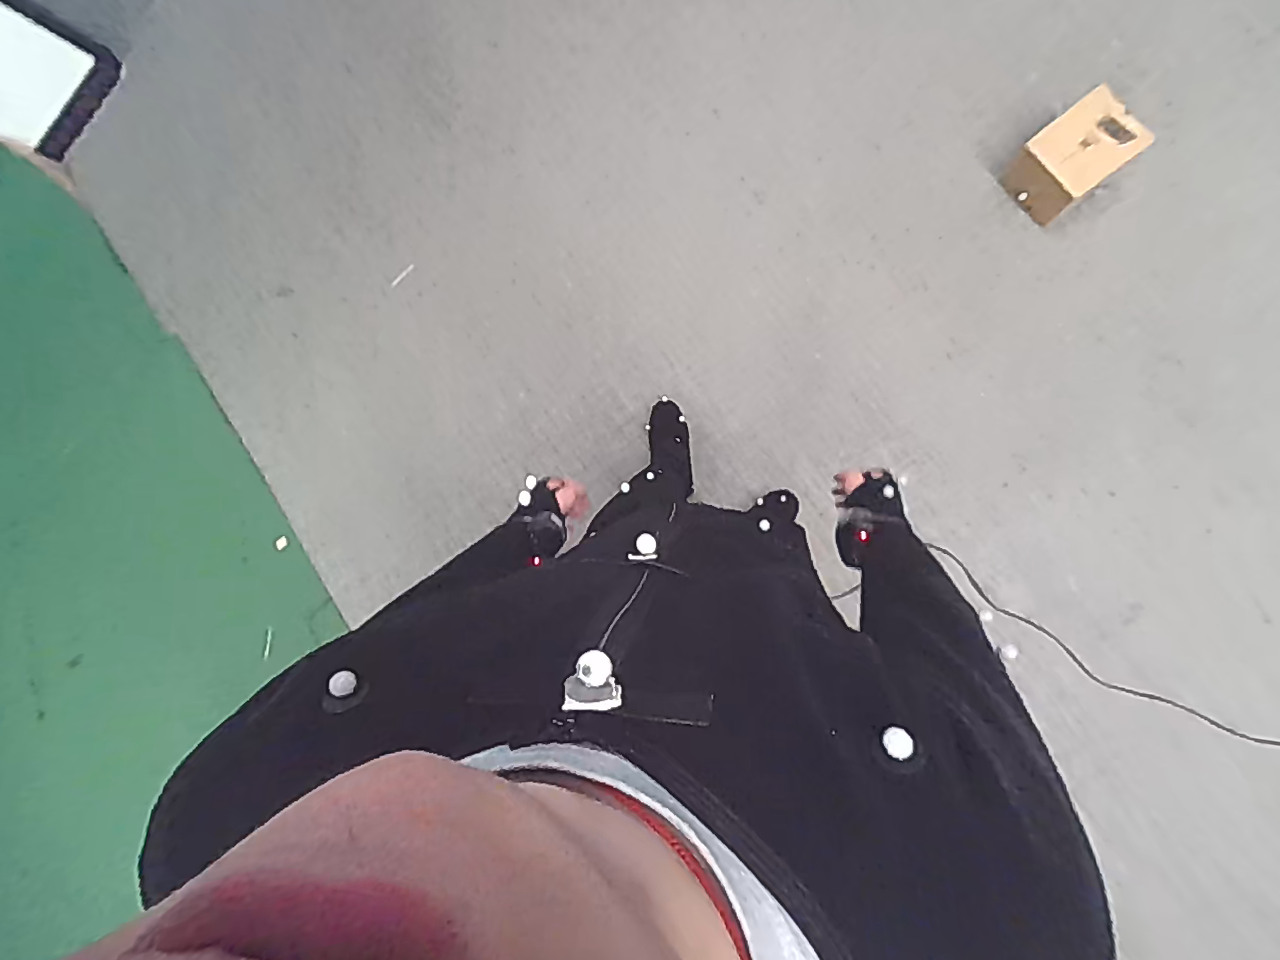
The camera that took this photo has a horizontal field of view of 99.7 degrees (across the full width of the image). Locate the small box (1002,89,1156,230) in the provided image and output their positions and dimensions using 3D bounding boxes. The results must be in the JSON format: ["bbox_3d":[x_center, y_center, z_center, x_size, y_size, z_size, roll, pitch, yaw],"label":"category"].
[{"bbox_3d":[0.964,-0.703,1.208,0.179,0.176,0.168,-37,83,15],"label":"small box"}]
